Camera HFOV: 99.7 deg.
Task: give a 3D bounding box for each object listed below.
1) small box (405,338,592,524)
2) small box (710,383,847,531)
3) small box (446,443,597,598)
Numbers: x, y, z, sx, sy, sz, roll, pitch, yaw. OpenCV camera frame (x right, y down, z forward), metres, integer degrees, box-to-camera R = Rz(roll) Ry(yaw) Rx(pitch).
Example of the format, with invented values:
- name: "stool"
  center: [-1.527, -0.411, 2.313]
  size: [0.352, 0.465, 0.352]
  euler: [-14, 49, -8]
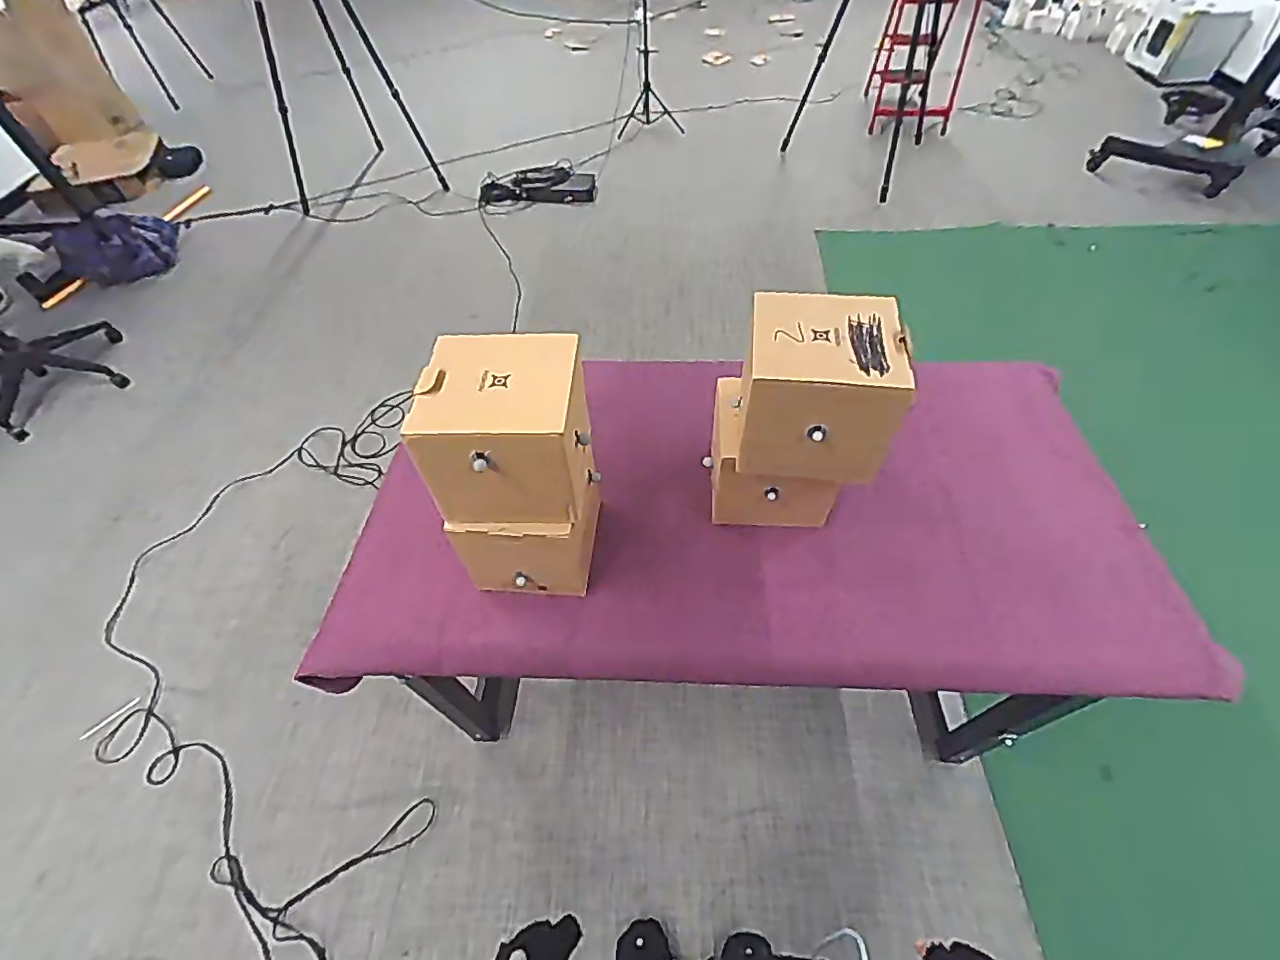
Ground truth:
- name: "small box"
  center: [-0.156, -0.056, 0.673]
  size: [0.179, 0.176, 0.168]
  euler: [0, 52, 2]
- name: "small box"
  center: [0.204, -0.032, 0.850]
  size: [0.179, 0.176, 0.168]
  euler: [2, 53, 4]
- name: "small box"
  center: [-0.158, 0.052, 0.795]
  size: [0.168, 0.176, 0.179]
  euler: [4, 52, 5]
